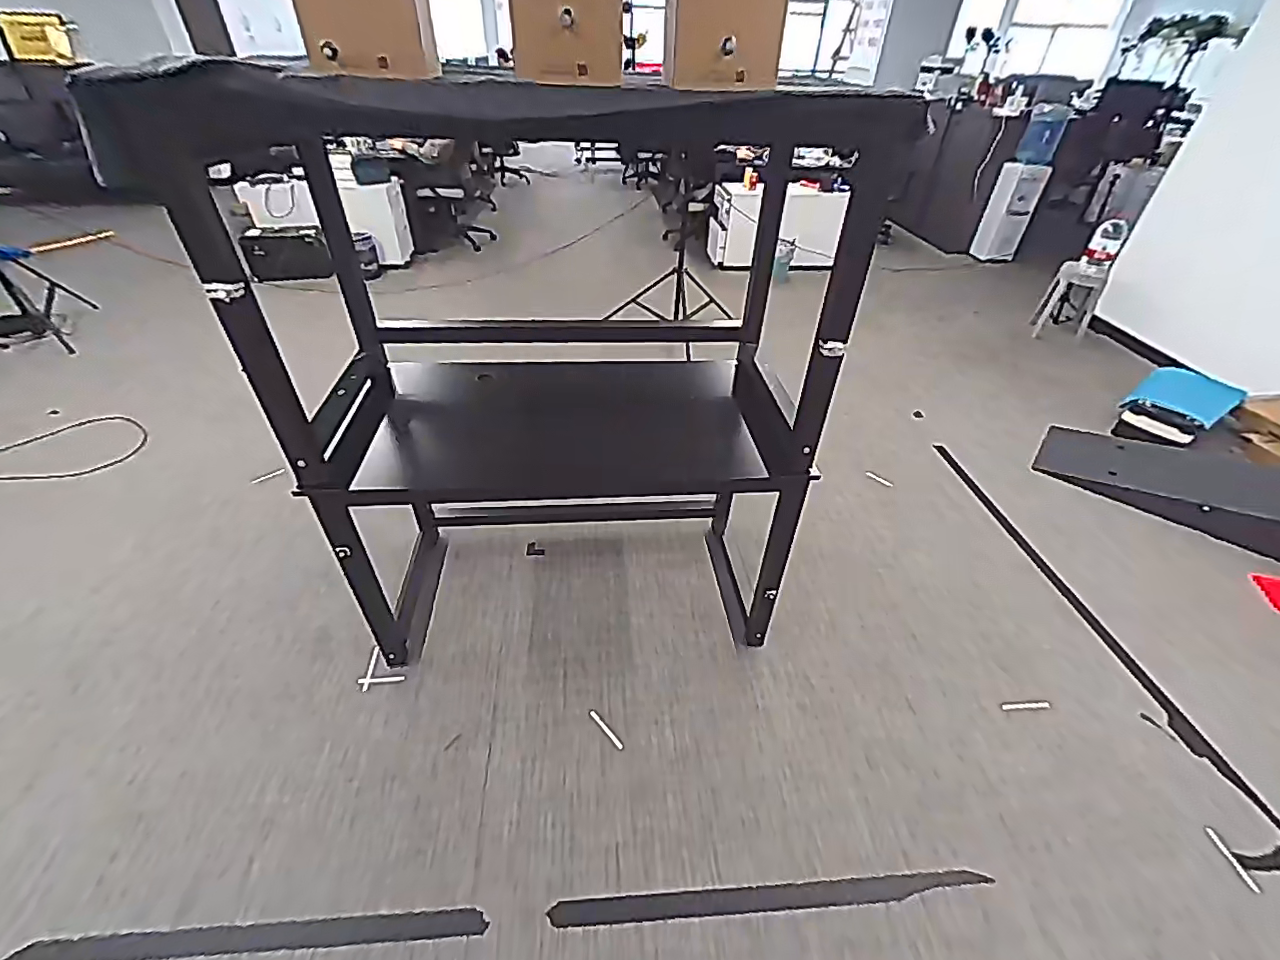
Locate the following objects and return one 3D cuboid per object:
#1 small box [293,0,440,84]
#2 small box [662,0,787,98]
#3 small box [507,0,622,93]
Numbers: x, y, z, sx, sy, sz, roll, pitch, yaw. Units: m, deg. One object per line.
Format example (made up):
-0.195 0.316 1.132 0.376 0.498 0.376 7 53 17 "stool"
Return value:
-0.413 -0.711 0.826 0.168 0.176 0.179 -4 38 -8 "small box"
0.126 -0.721 0.862 0.168 0.176 0.179 -2 39 -3 "small box"
-0.111 -0.716 0.847 0.168 0.176 0.179 0 38 -3 "small box"
